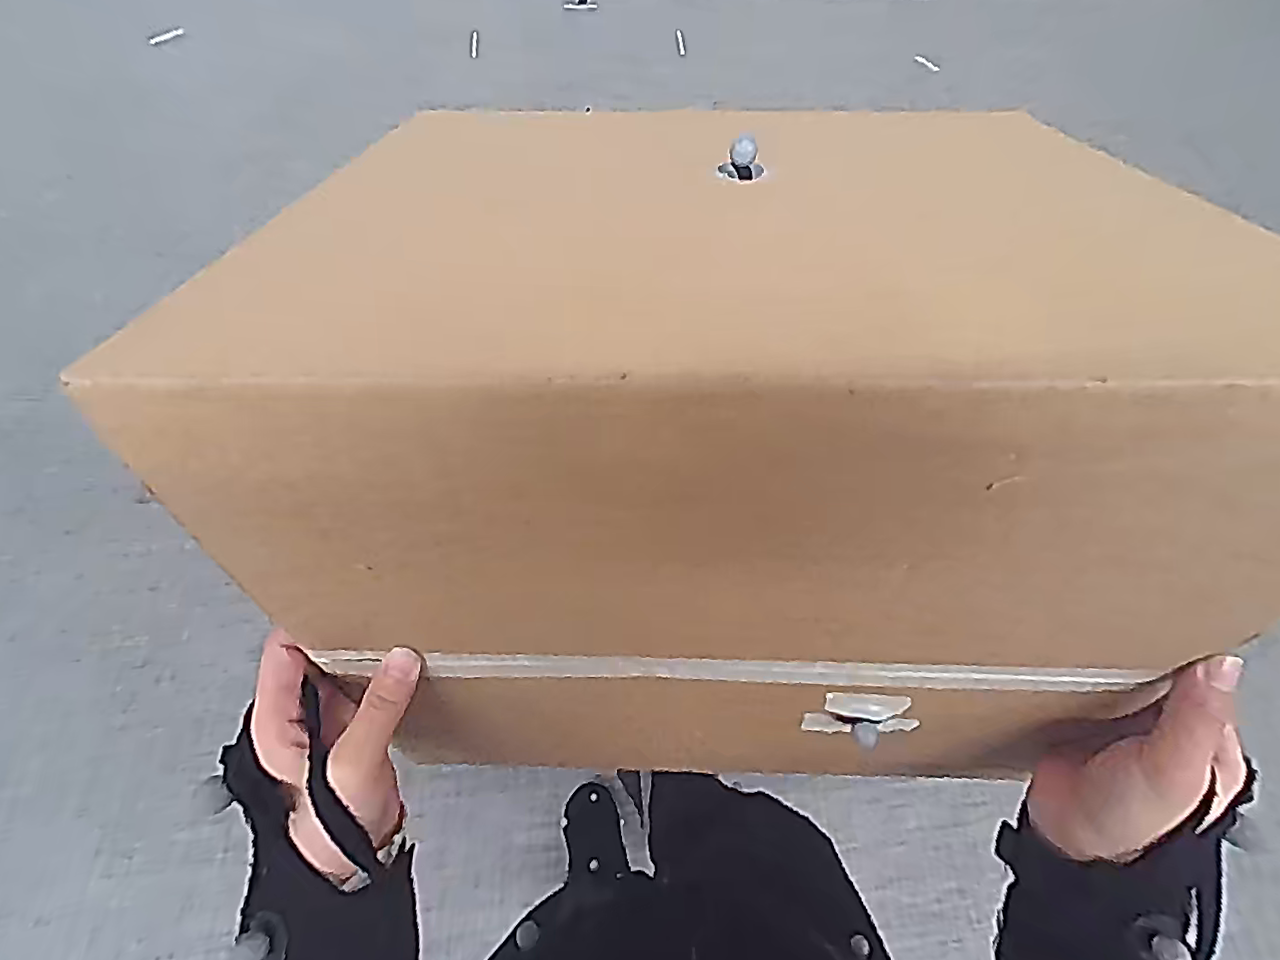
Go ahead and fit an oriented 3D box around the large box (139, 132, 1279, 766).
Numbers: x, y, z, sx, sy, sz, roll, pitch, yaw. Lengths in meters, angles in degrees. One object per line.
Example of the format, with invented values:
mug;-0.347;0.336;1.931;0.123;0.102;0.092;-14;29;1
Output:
large box;0.046;-0.021;0.367;0.408;0.320;0.320;0;46;1
